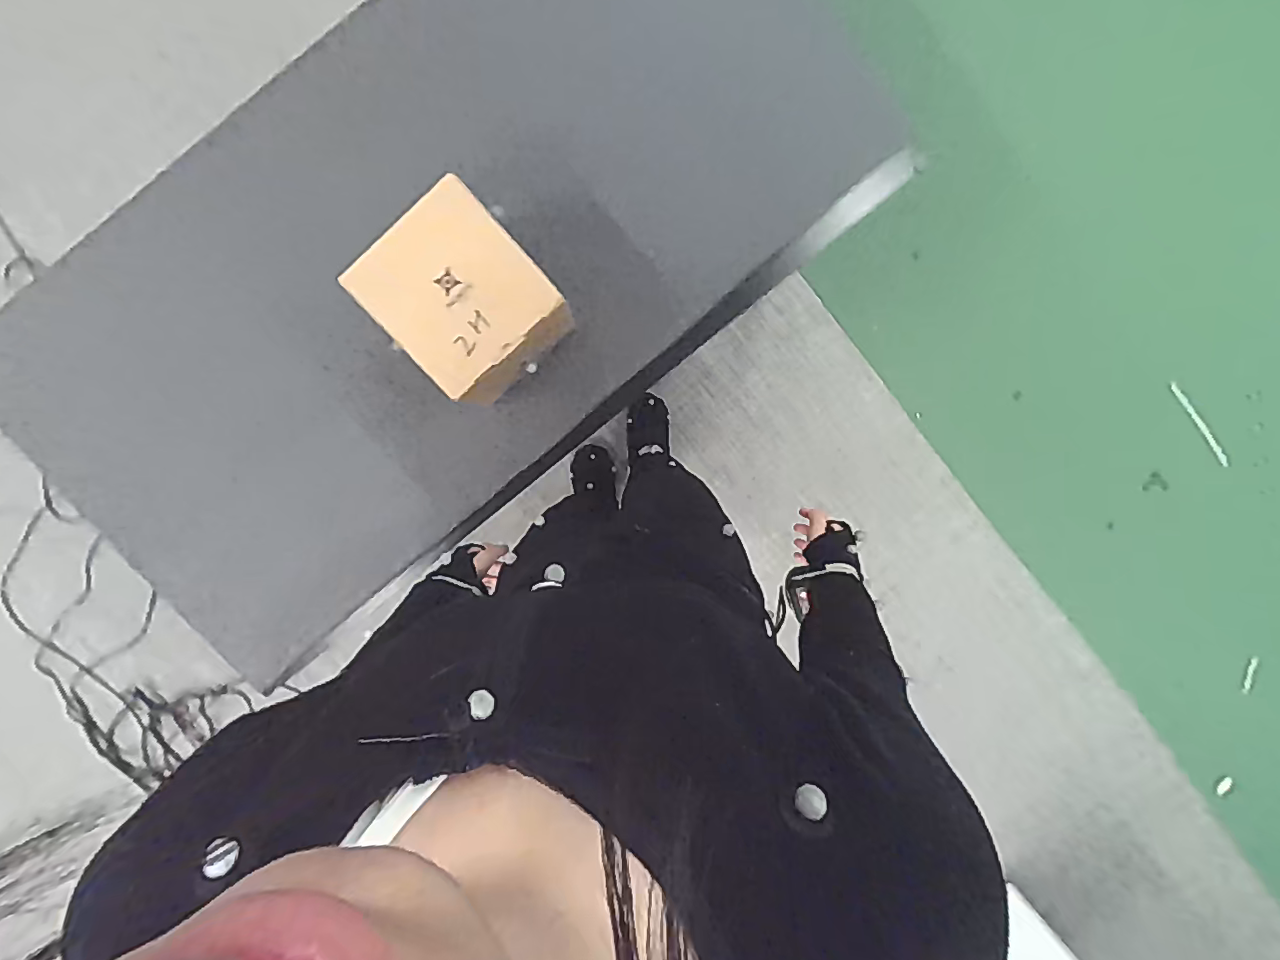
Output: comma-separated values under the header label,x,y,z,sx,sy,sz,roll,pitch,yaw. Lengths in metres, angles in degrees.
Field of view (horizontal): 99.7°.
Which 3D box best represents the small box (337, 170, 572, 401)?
label,x,y,z,sx,sy,sz,roll,pitch,yaw
small box,-0.200,-0.208,0.640,0.168,0.176,0.179,-43,96,2
